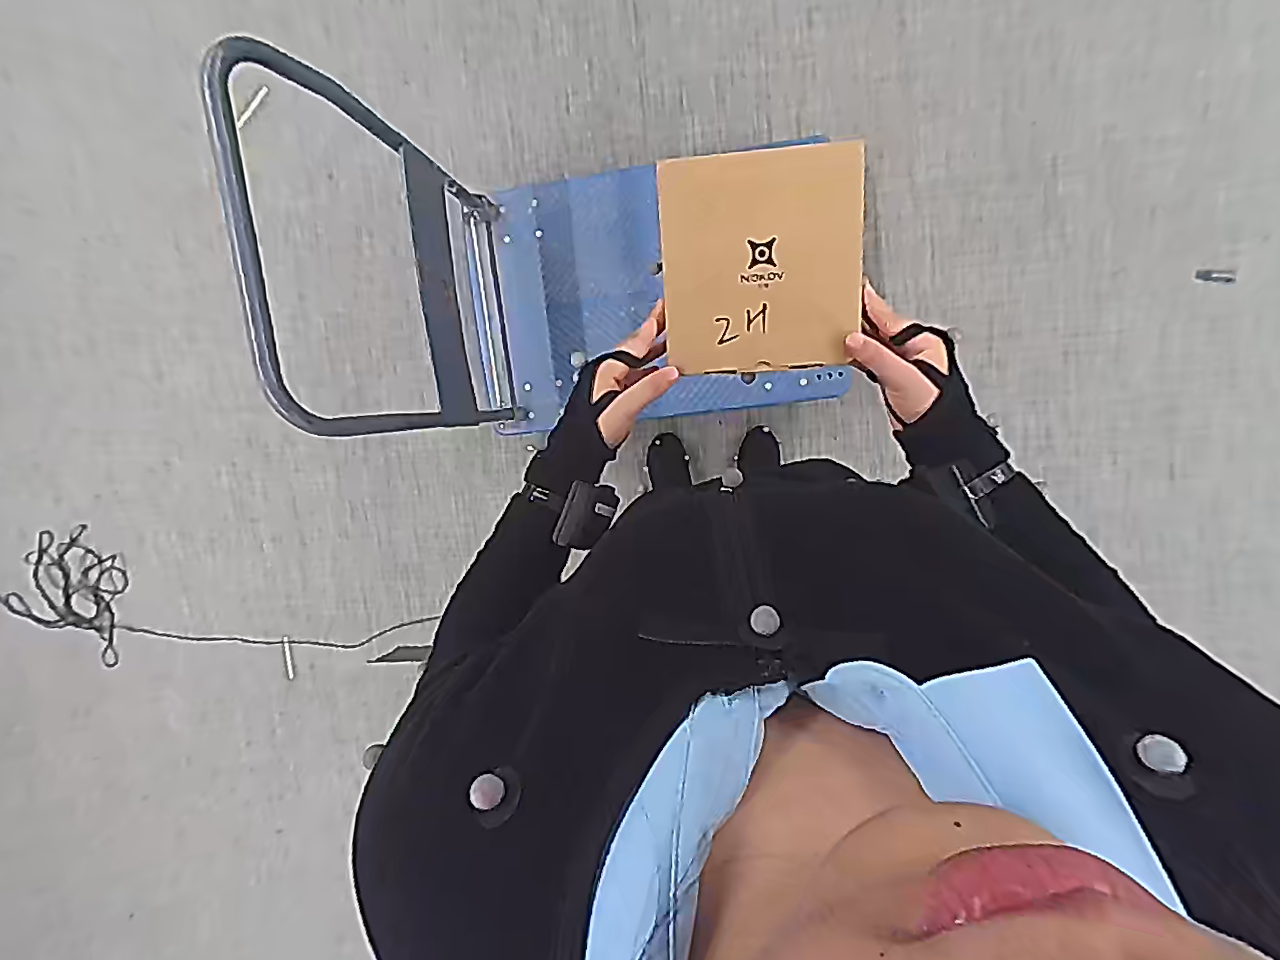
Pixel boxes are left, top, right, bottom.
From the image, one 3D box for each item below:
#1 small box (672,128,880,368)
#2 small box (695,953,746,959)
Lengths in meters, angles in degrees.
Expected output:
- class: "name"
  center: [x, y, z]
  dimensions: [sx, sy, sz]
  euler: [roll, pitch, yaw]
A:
- class: "small box"
  center: [0.116, -0.201, 0.519]
  dimensions: [0.168, 0.176, 0.179]
  euler: [-3, 102, 6]
- class: "small box"
  center: [0.247, 1.541, 1.577]
  dimensions: [0.168, 0.176, 0.179]
  euler: [-6, 95, 7]
